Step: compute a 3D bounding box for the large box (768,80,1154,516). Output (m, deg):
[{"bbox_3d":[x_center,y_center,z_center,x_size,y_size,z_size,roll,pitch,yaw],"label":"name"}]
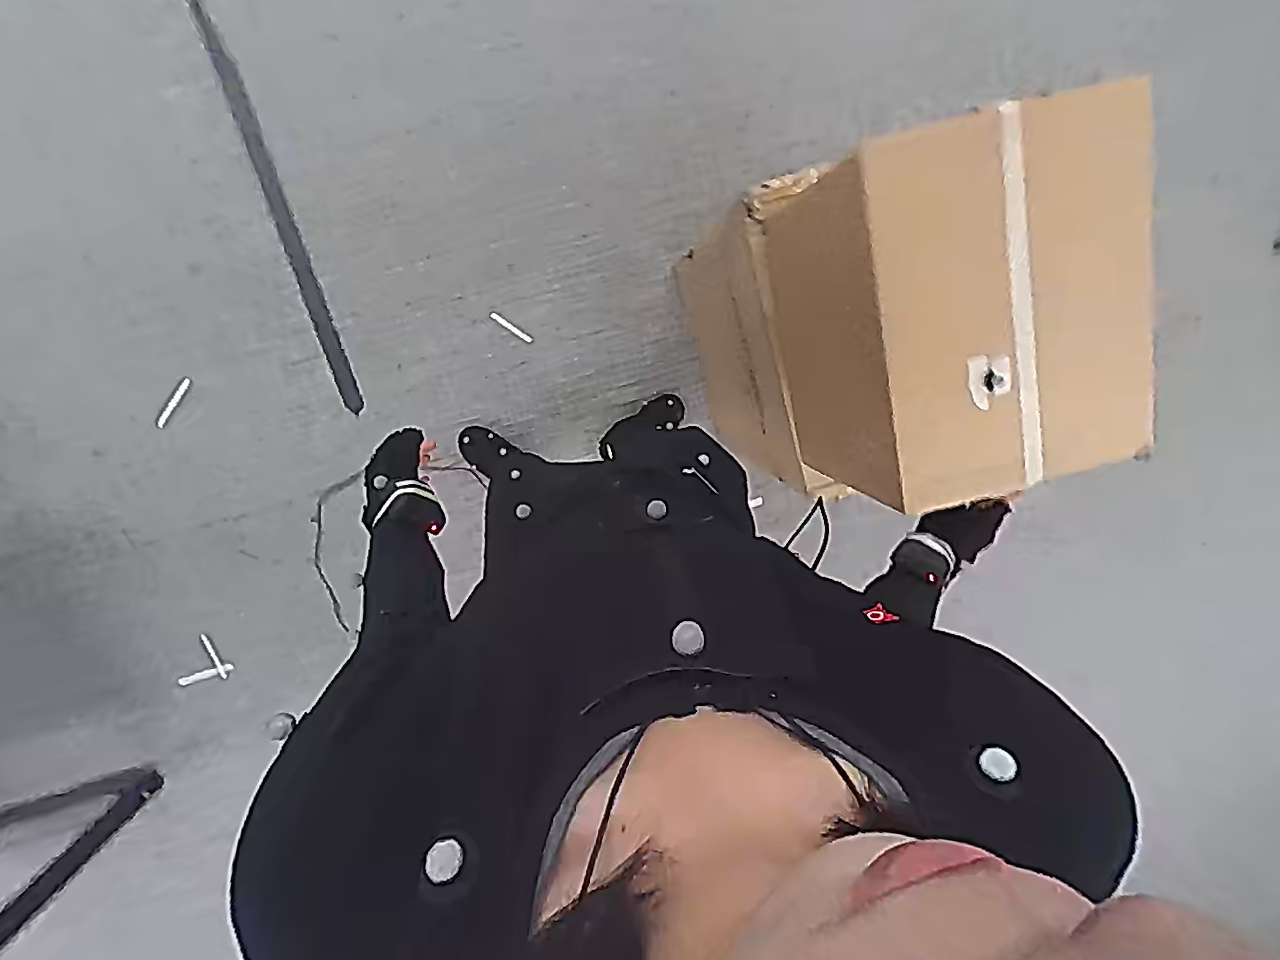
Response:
[{"bbox_3d":[0.399,-0.215,0.729,0.320,0.320,0.408,-14,104,-1],"label":"large box"}]
